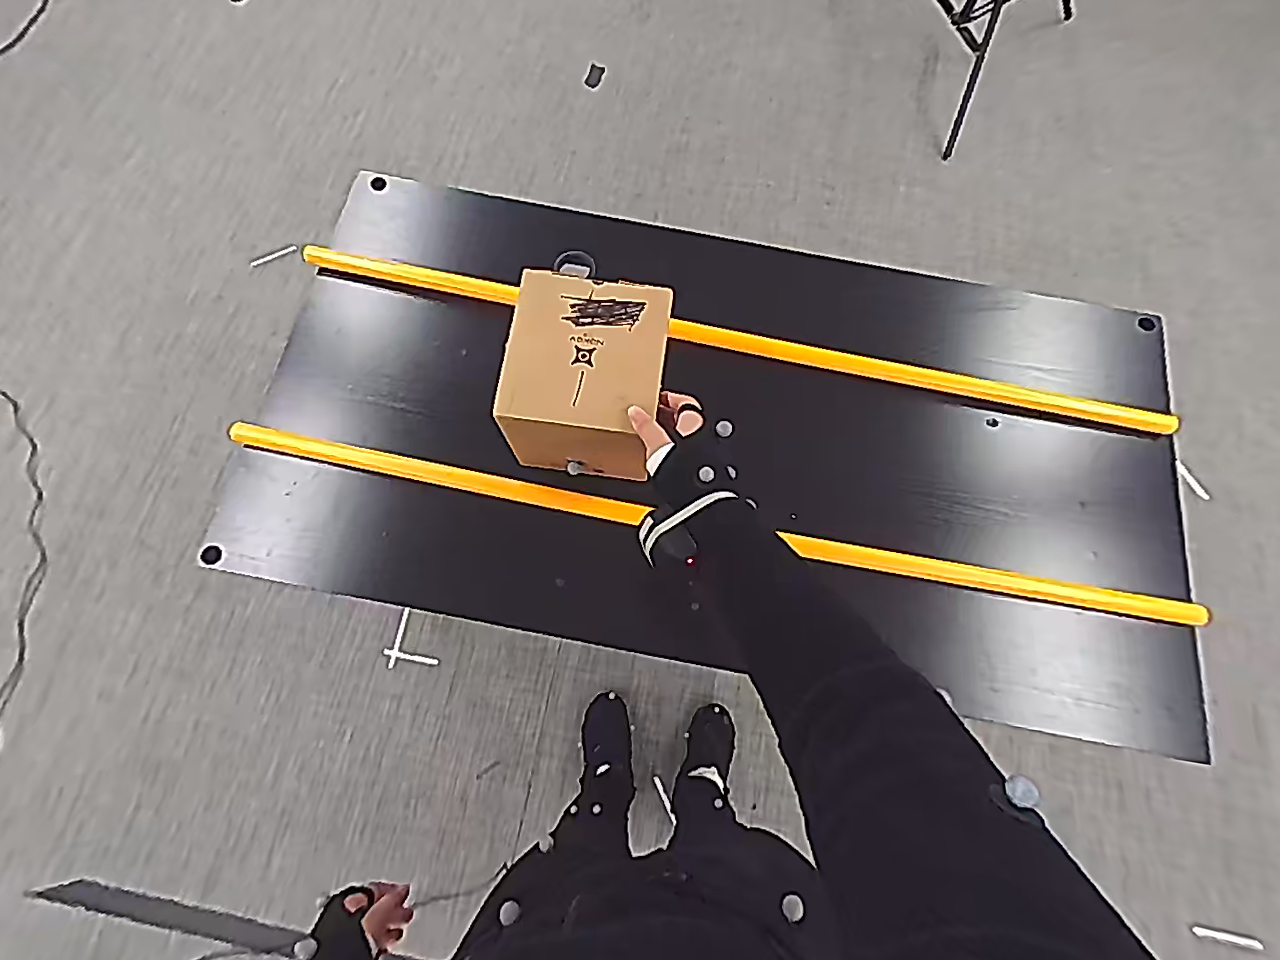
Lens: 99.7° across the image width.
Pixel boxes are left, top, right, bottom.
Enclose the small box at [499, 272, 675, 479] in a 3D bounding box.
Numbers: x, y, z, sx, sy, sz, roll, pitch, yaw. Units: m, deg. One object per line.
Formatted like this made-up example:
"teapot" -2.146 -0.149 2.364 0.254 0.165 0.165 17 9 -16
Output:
"small box" -0.057 -0.115 0.650 0.168 0.176 0.179 8 74 0
